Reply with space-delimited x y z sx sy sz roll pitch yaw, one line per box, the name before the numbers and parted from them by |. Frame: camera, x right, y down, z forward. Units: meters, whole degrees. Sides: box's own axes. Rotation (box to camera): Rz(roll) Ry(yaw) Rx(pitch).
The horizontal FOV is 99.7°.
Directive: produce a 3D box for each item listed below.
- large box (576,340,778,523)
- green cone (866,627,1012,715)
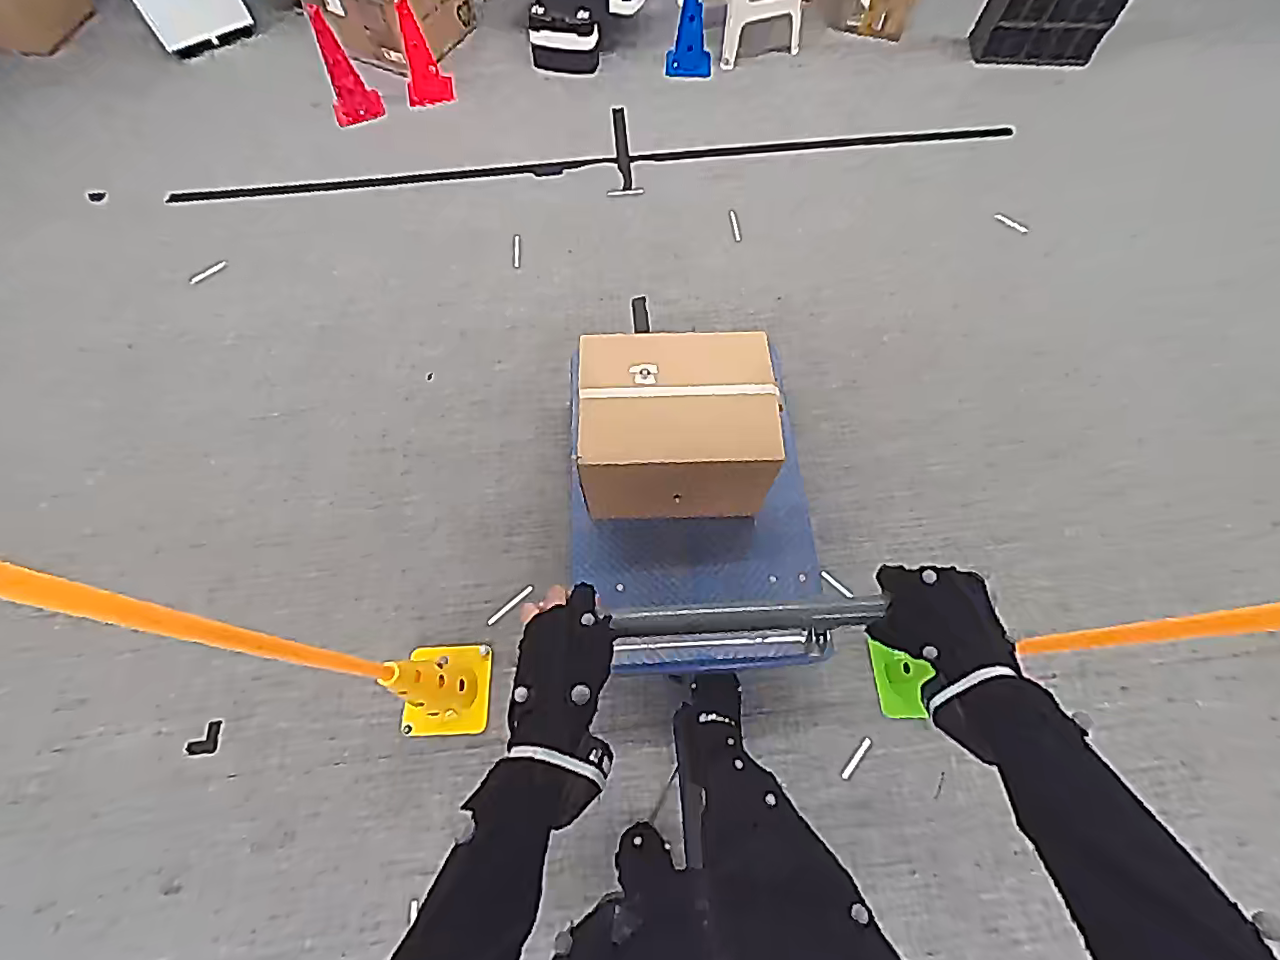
large box | 0.073 -0.097 1.251 0.408 0.320 0.320 -2 66 1
green cone | 0.669 0.391 1.169 0.202 0.368 0.200 -1 65 -1
